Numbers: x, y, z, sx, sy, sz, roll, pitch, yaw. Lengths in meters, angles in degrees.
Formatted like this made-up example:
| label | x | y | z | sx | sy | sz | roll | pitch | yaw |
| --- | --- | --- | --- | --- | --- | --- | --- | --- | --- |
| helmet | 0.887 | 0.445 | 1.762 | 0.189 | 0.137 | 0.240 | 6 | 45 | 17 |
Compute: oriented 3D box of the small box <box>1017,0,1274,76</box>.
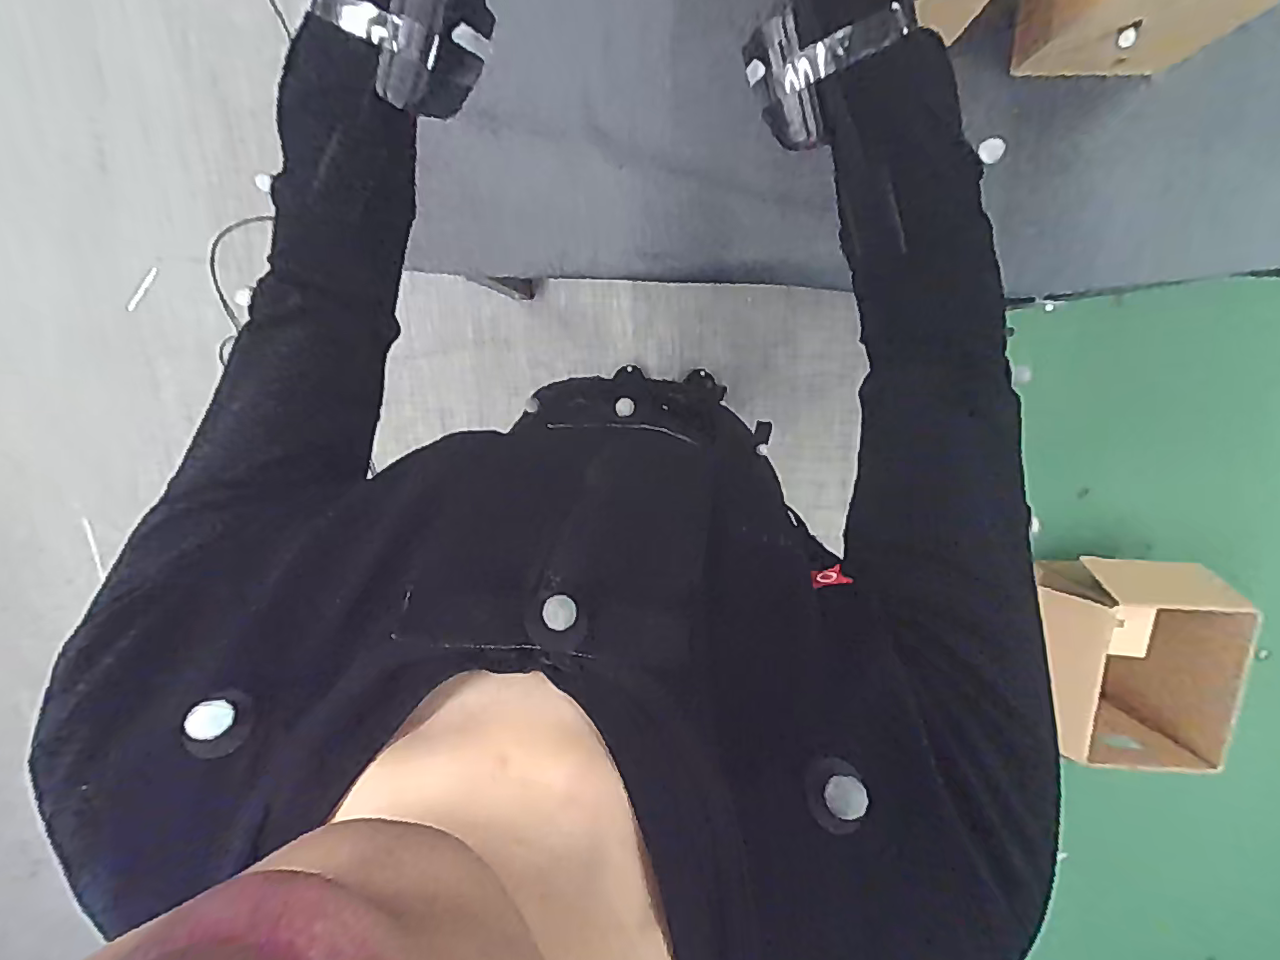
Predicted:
| label | x | y | z | sx | sy | sz | roll | pitch | yaw |
| --- | --- | --- | --- | --- | --- | --- | --- | --- | --- |
| small box | 0.503 | -0.523 | 0.518 | 0.168 | 0.176 | 0.179 | 1 | 102 | 2 |

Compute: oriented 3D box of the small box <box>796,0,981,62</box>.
| label | x | y | z | sx | sy | sz | roll | pitch | yaw |
| --- | --- | --- | --- | --- | --- | --- | --- | --- | --- |
| small box | 0.256 | -0.544 | 0.522 | 0.168 | 0.176 | 0.179 | 3 | 102 | 2 |
